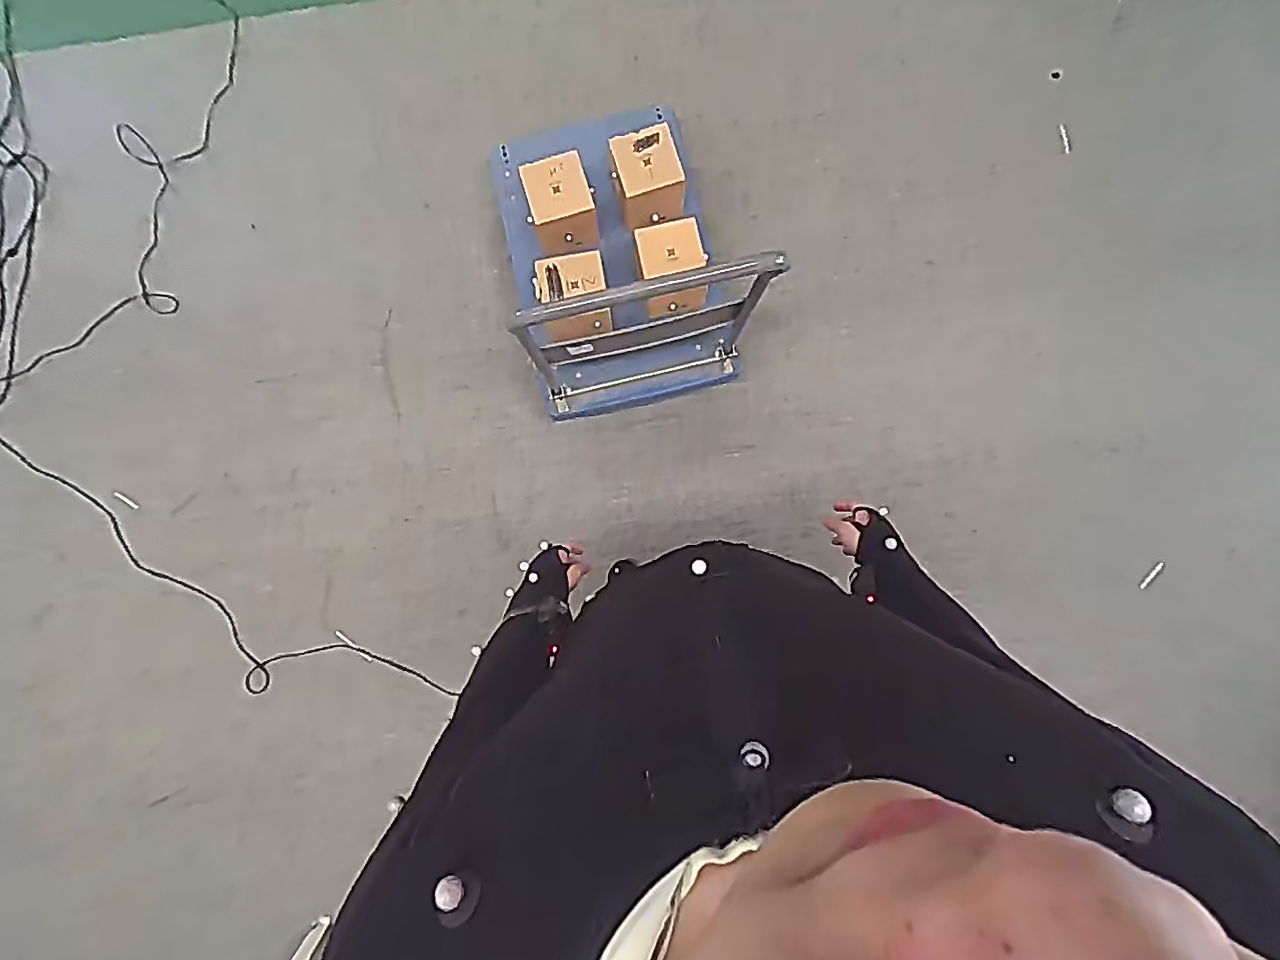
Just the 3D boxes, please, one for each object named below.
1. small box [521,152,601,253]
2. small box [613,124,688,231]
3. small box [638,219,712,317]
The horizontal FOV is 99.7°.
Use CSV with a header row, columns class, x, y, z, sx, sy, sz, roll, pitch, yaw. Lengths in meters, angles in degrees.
class,x,y,z,sx,sy,sz,roll,pitch,yaw
small box,-0.212,-0.759,1.504,0.168,0.176,0.179,-17,84,-1
small box,0.028,-0.835,1.505,0.168,0.176,0.179,-17,85,1
small box,0.091,-0.573,1.477,0.168,0.176,0.179,-12,84,0
